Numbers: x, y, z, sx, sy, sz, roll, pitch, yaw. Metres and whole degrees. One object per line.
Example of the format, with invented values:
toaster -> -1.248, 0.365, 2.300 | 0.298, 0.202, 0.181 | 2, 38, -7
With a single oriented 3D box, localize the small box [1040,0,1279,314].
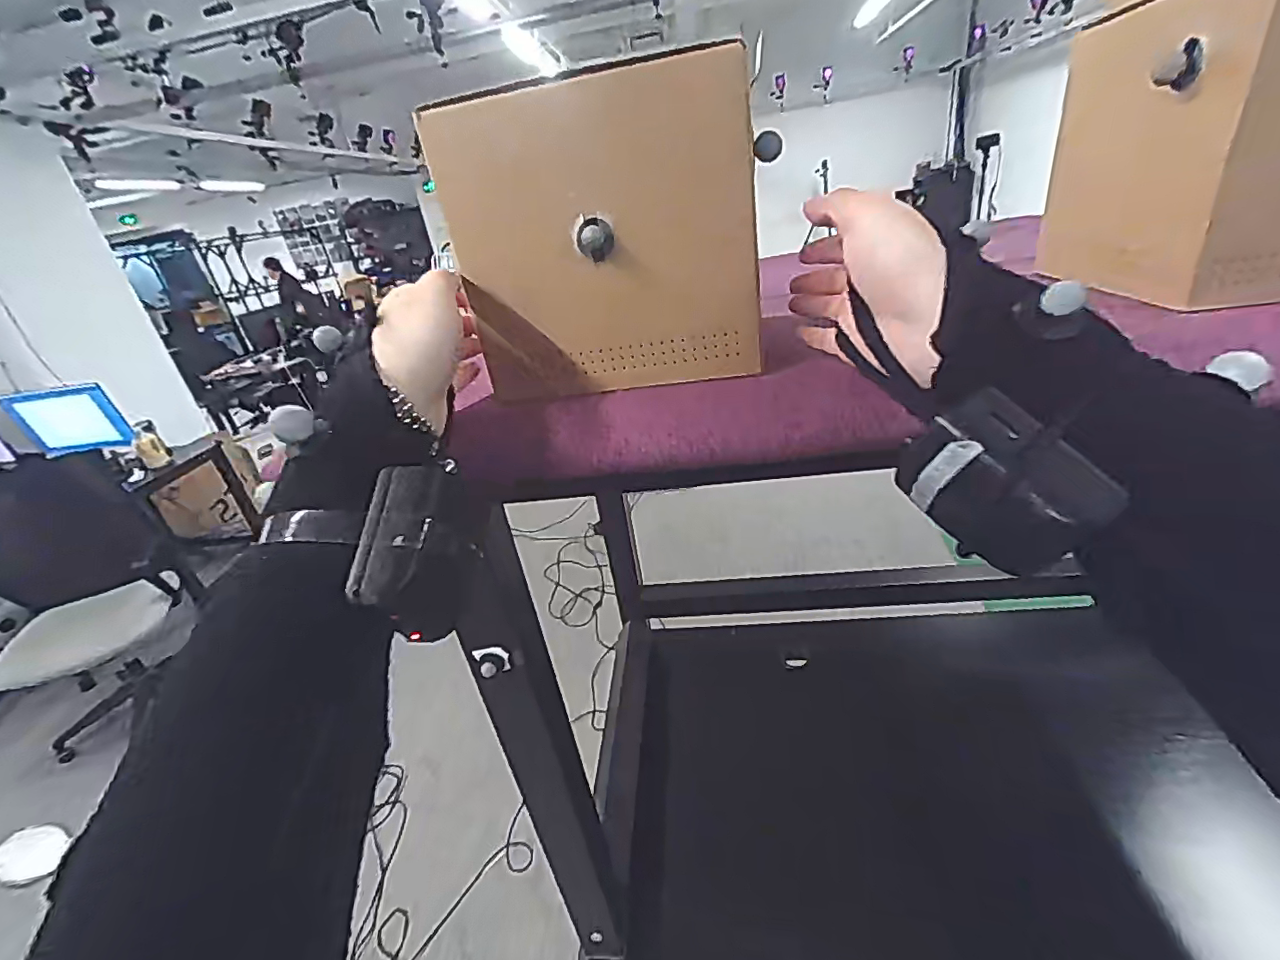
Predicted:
small box -> 0.393, -0.206, 0.337 | 0.168, 0.176, 0.179 | -3, 27, 10
